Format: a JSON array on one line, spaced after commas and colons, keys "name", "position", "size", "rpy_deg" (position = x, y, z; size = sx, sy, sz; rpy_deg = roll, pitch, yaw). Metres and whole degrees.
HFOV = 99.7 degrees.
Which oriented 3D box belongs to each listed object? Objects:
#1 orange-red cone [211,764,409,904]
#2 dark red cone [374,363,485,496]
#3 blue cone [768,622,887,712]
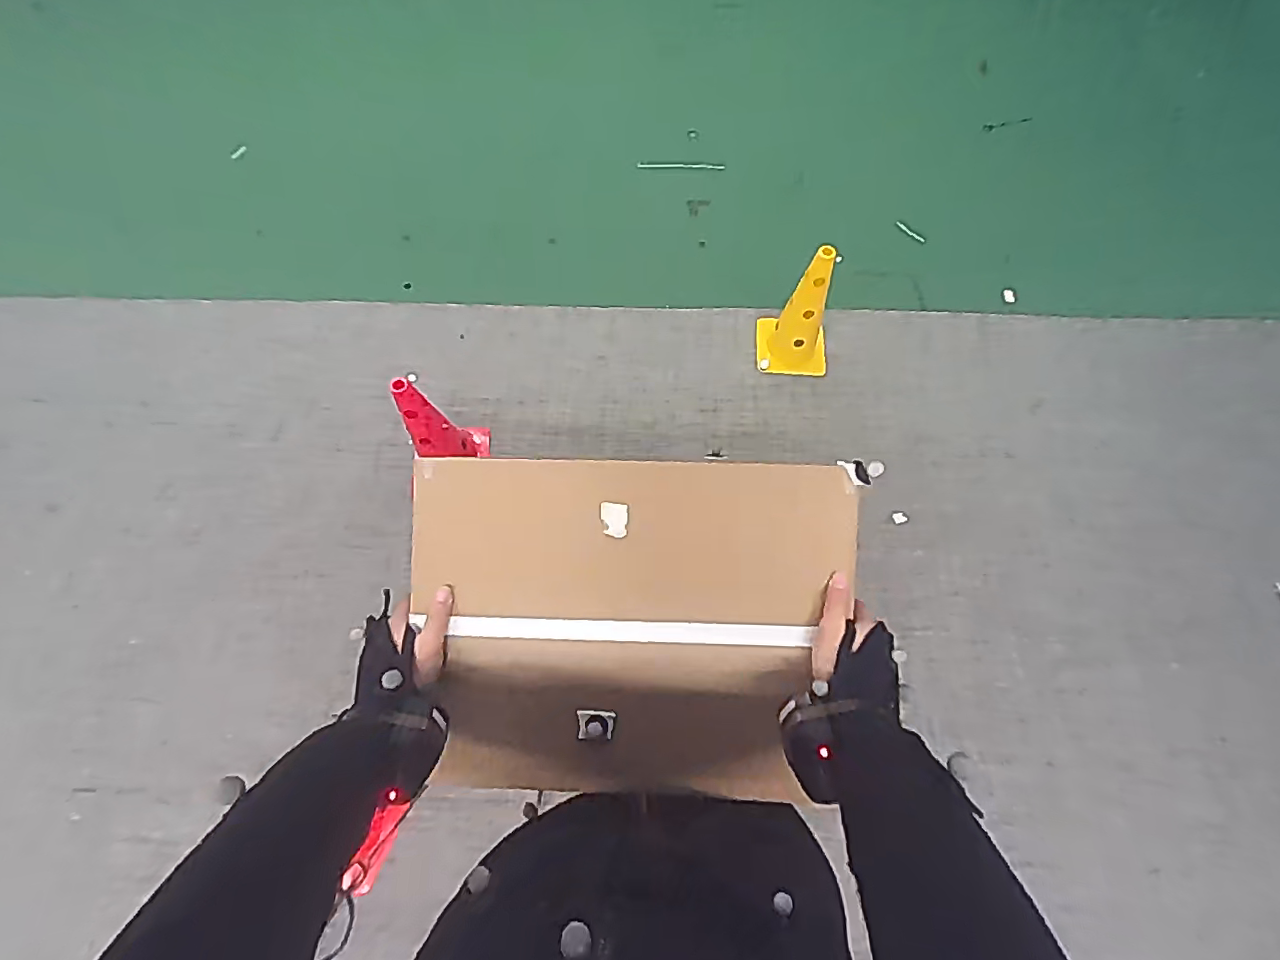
[{"name": "orange-red cone", "position": [-0.595, 0.629, 0.935], "size": [0.199, 0.360, 0.198], "rpy_deg": [19, 65, 11]}, {"name": "dark red cone", "position": [-0.514, -0.131, 1.273], "size": [0.202, 0.394, 0.201], "rpy_deg": [-6, 61, -1]}, {"name": "blue cone", "position": [0.385, 0.347, 1.067], "size": [0.192, 0.380, 0.193], "rpy_deg": [1, 65, 1]}]
